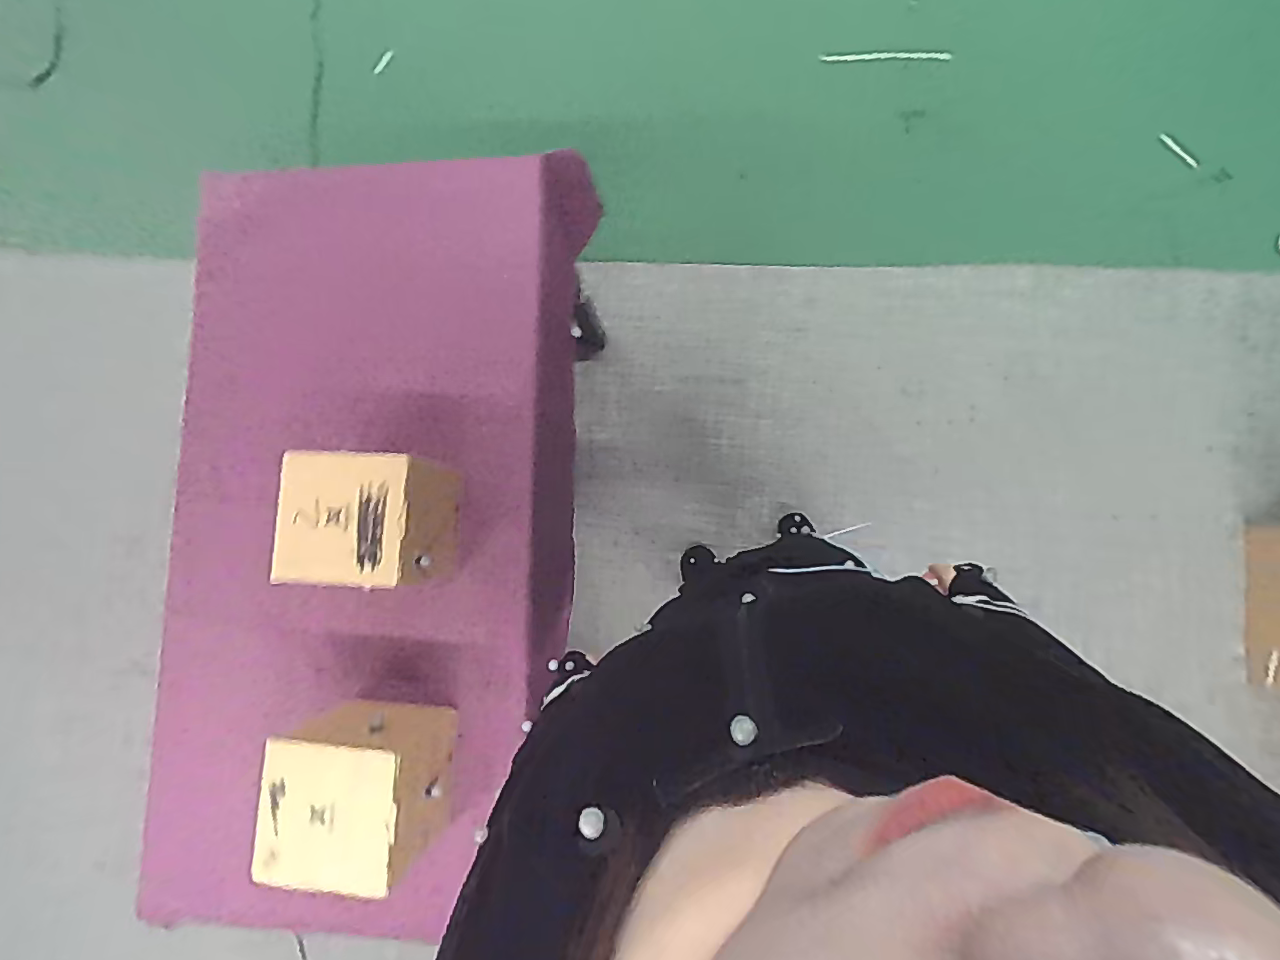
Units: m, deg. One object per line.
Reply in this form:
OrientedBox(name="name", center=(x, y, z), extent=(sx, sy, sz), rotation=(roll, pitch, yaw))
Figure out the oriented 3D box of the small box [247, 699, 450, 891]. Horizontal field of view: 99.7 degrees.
OrientedBox(name="small box", center=(-0.375, 0.406, 0.727), extent=(0.179, 0.176, 0.168), rotation=(3, 84, 5))
